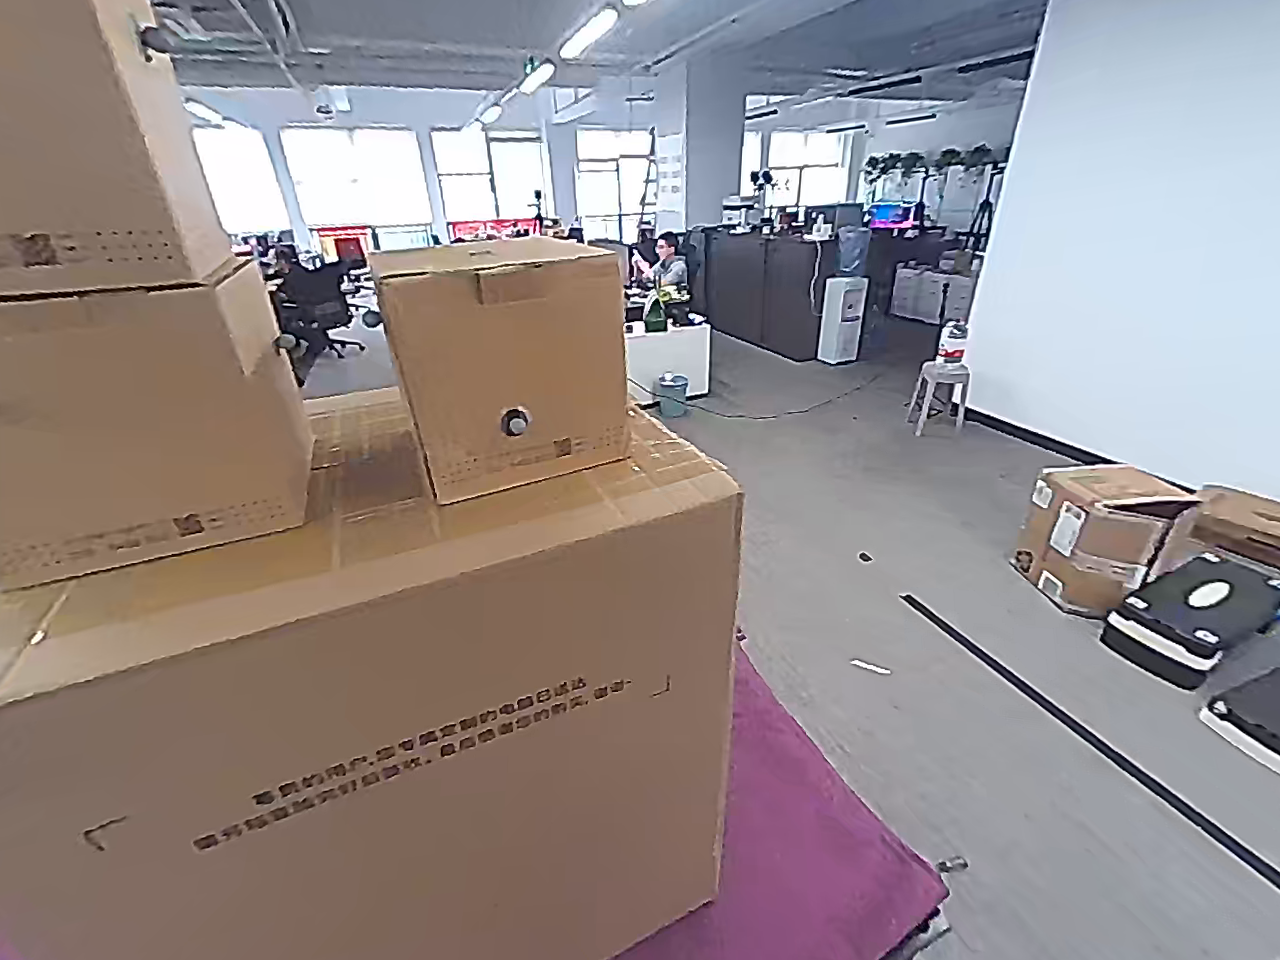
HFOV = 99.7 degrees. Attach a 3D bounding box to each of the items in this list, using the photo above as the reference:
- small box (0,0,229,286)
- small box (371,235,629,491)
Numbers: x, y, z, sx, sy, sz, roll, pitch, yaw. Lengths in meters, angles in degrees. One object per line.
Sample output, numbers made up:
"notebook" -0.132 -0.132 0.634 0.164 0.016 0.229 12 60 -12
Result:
"small box" -0.358 -0.202 0.298 0.168 0.176 0.179 -14 30 -25
"small box" -0.119 -0.111 0.466 0.168 0.176 0.179 -16 32 -22
